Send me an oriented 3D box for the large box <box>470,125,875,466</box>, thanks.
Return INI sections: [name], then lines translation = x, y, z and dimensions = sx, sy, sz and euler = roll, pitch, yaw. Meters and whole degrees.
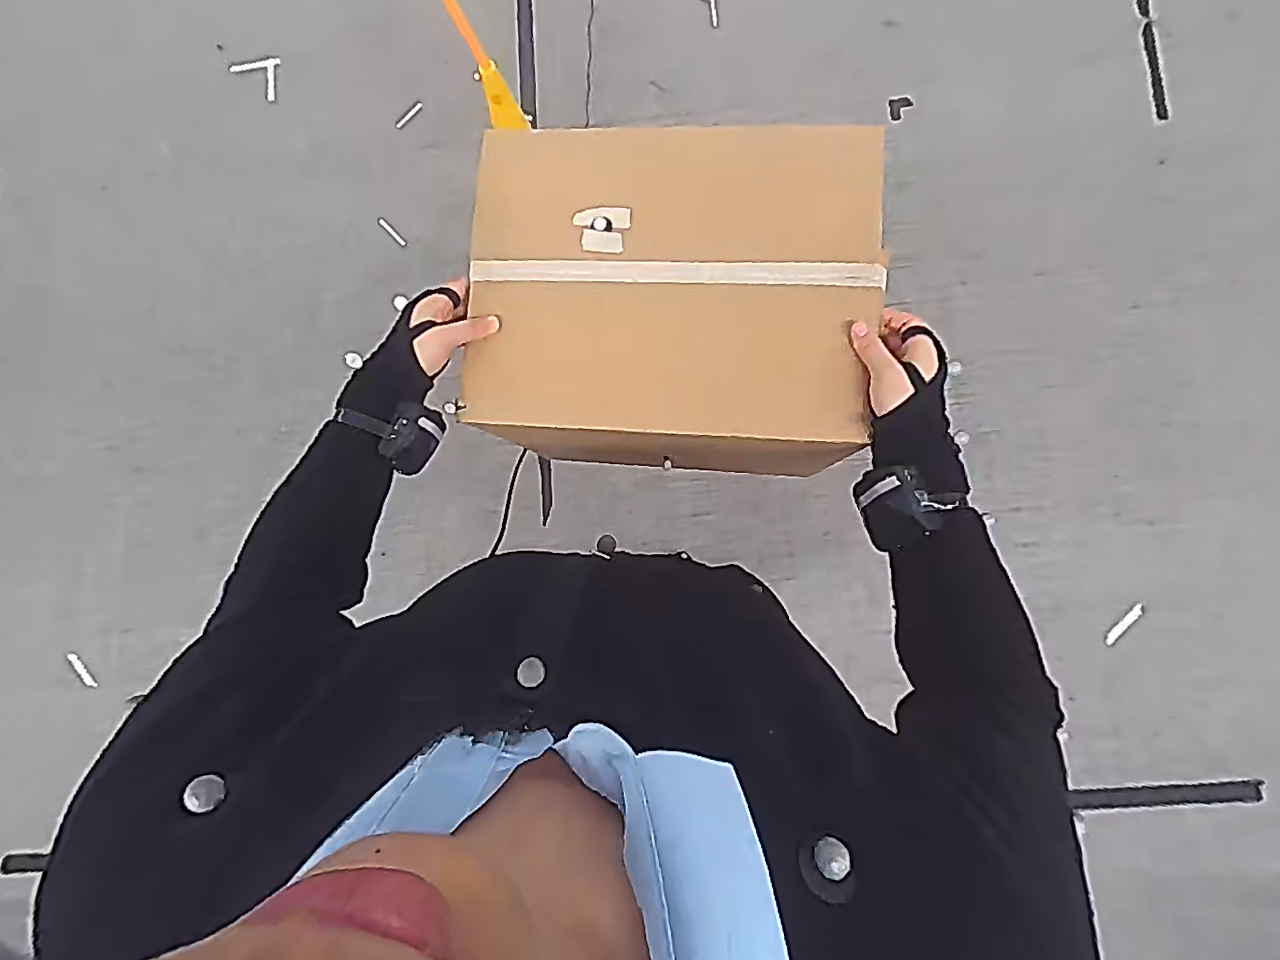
[large box]
translation = 0.050, -0.190, 0.690
dimensions = 0.408, 0.320, 0.320
euler = 3, 84, 8
